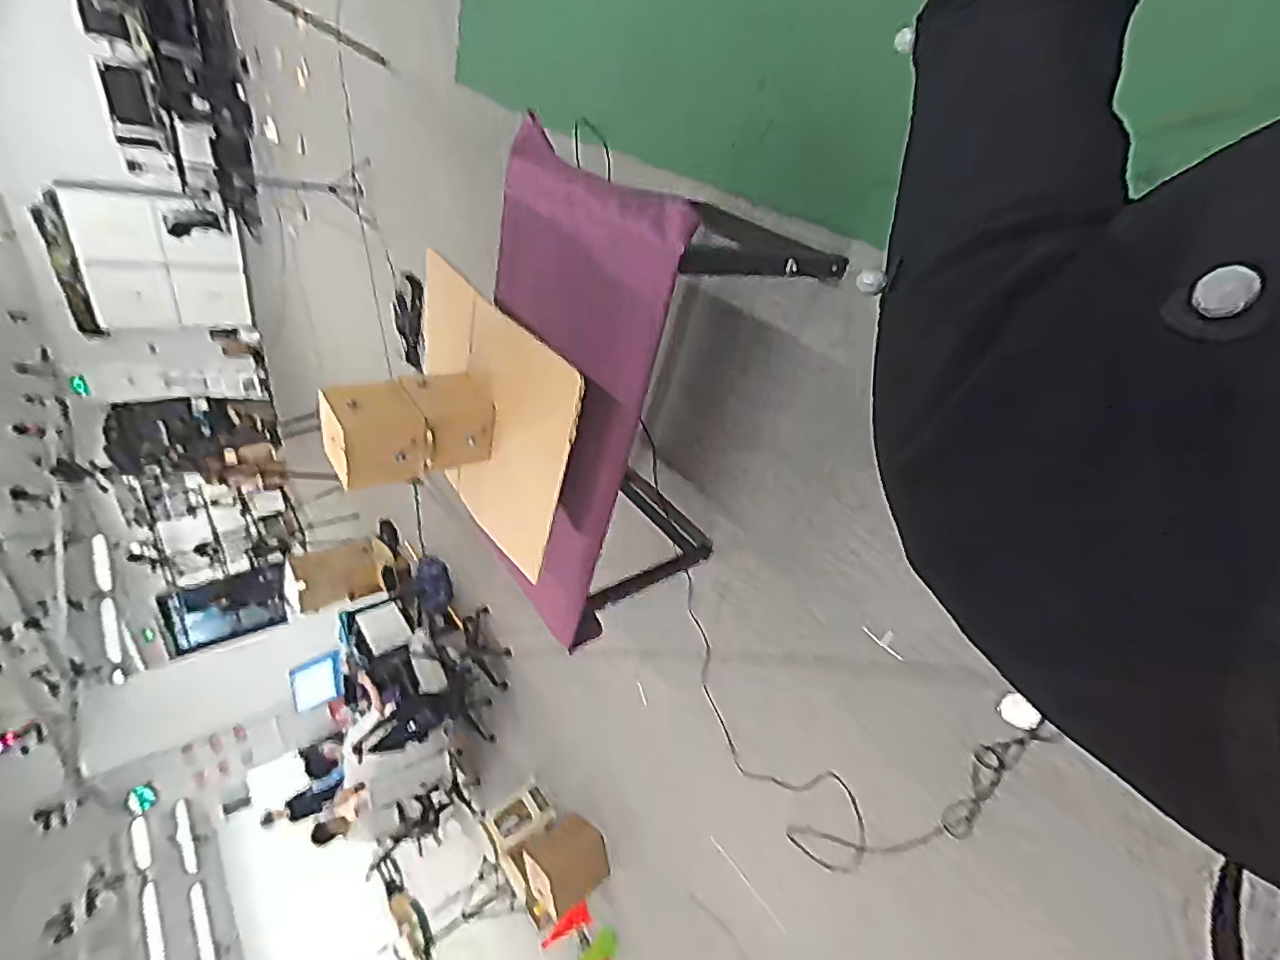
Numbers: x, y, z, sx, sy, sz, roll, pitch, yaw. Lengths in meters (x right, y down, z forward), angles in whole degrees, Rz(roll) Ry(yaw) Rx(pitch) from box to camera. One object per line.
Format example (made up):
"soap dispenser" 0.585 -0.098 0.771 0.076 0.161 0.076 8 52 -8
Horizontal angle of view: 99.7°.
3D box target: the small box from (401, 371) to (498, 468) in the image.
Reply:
"small box" -0.469 -0.154 1.319 0.179 0.176 0.168 46 134 31

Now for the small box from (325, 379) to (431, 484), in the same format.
"small box" -0.589 -0.116 1.215 0.179 0.176 0.168 44 132 33
